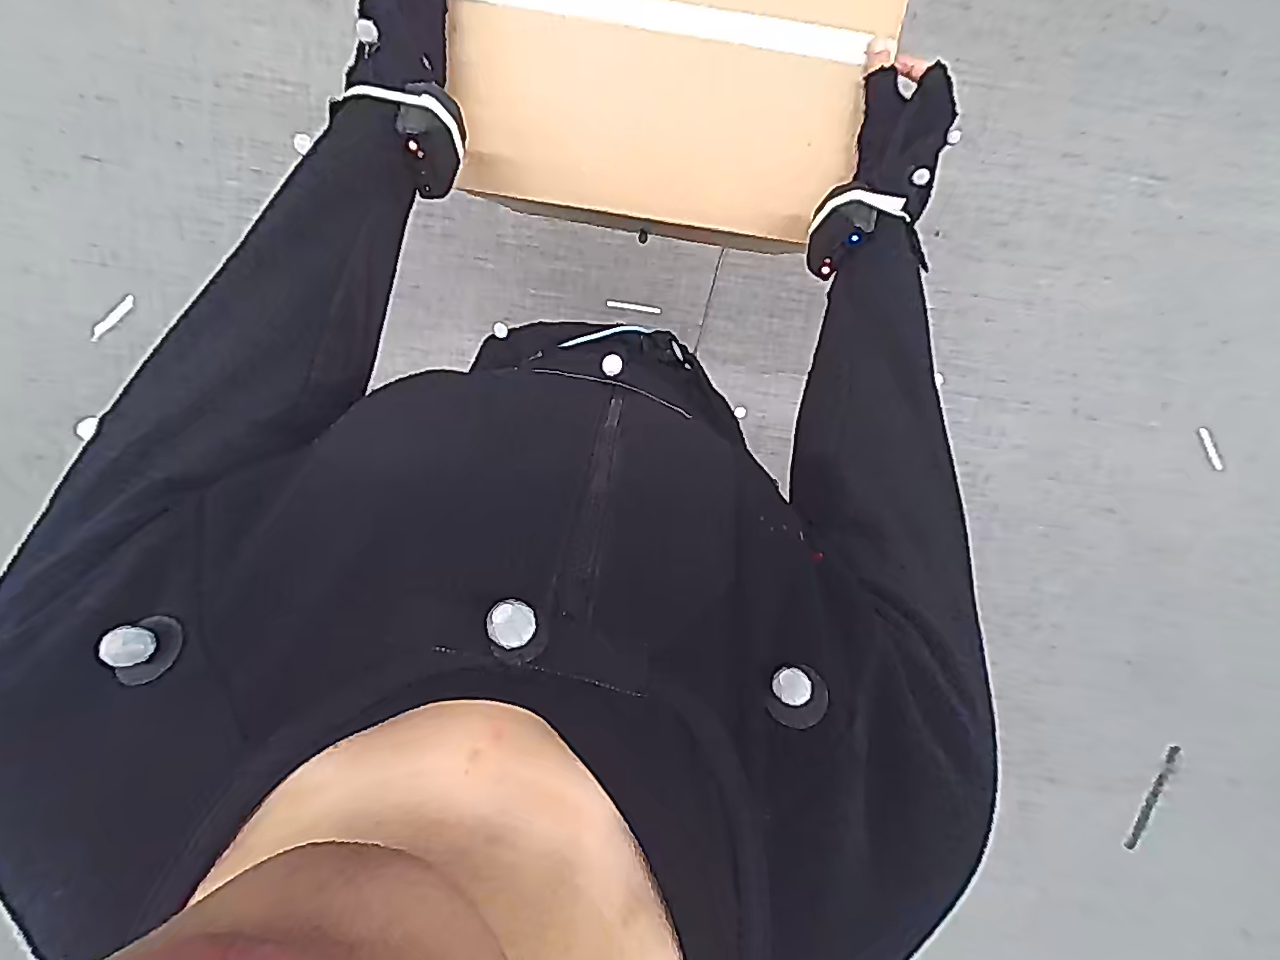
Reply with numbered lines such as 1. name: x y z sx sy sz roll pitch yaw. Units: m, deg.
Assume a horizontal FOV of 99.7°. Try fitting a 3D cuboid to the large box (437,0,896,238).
1. large box: 0.028 -0.469 0.611 0.408 0.320 0.320 9 111 -1
